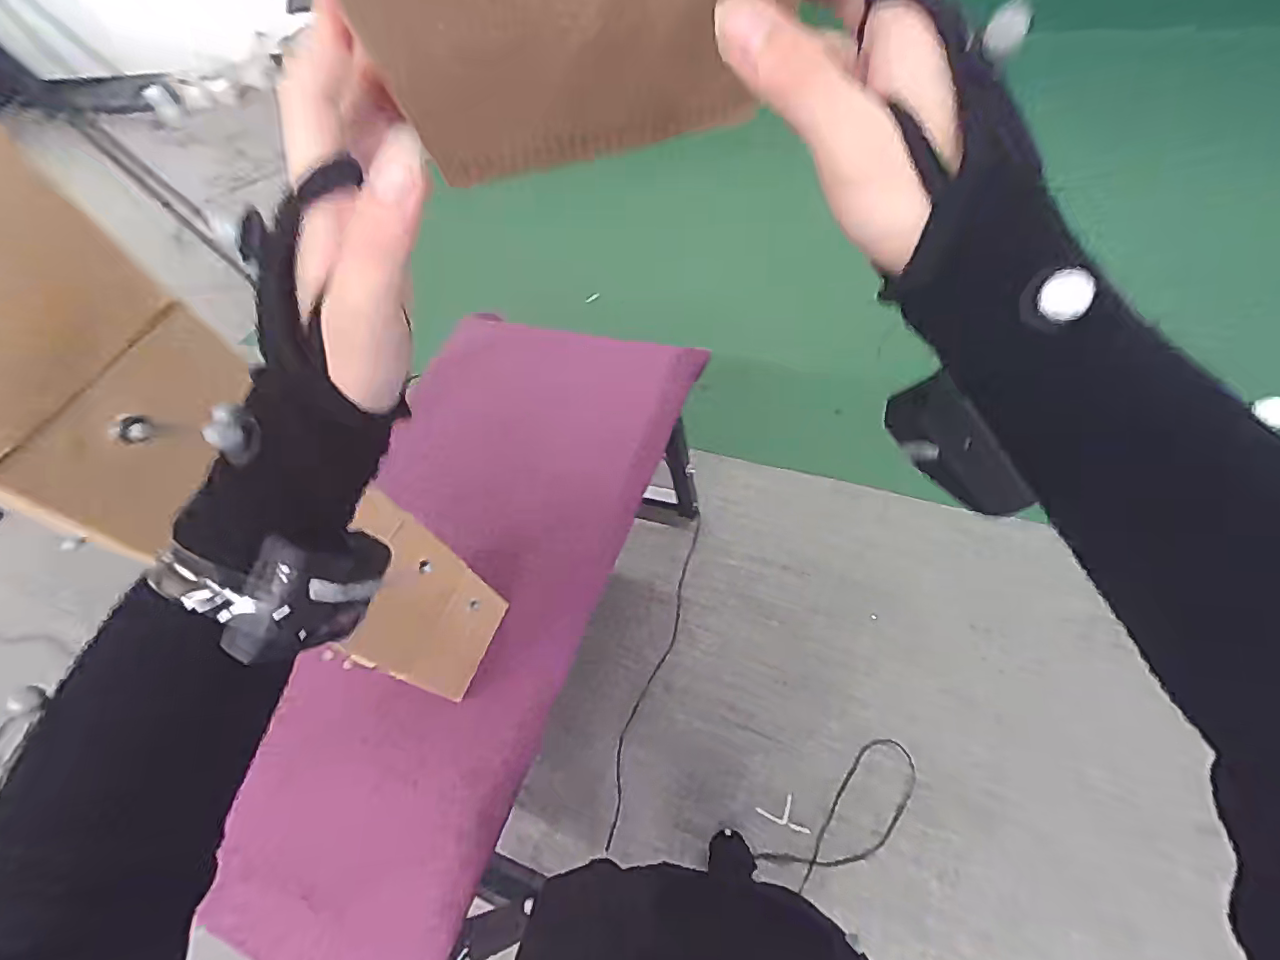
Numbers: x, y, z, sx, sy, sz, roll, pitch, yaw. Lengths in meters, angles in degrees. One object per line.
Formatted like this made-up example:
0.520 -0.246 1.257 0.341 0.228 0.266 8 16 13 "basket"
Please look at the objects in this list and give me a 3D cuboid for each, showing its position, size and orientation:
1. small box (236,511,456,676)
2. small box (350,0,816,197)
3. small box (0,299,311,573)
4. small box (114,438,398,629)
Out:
-0.382 0.143 0.743 0.168 0.176 0.179 12 61 20 "small box"
-0.027 -0.251 0.227 0.179 0.176 0.168 -13 93 -1 "small box"
-0.444 -0.039 0.478 0.168 0.176 0.179 11 59 20 "small box"
-0.418 0.052 0.612 0.179 0.176 0.168 12 59 19 "small box"
